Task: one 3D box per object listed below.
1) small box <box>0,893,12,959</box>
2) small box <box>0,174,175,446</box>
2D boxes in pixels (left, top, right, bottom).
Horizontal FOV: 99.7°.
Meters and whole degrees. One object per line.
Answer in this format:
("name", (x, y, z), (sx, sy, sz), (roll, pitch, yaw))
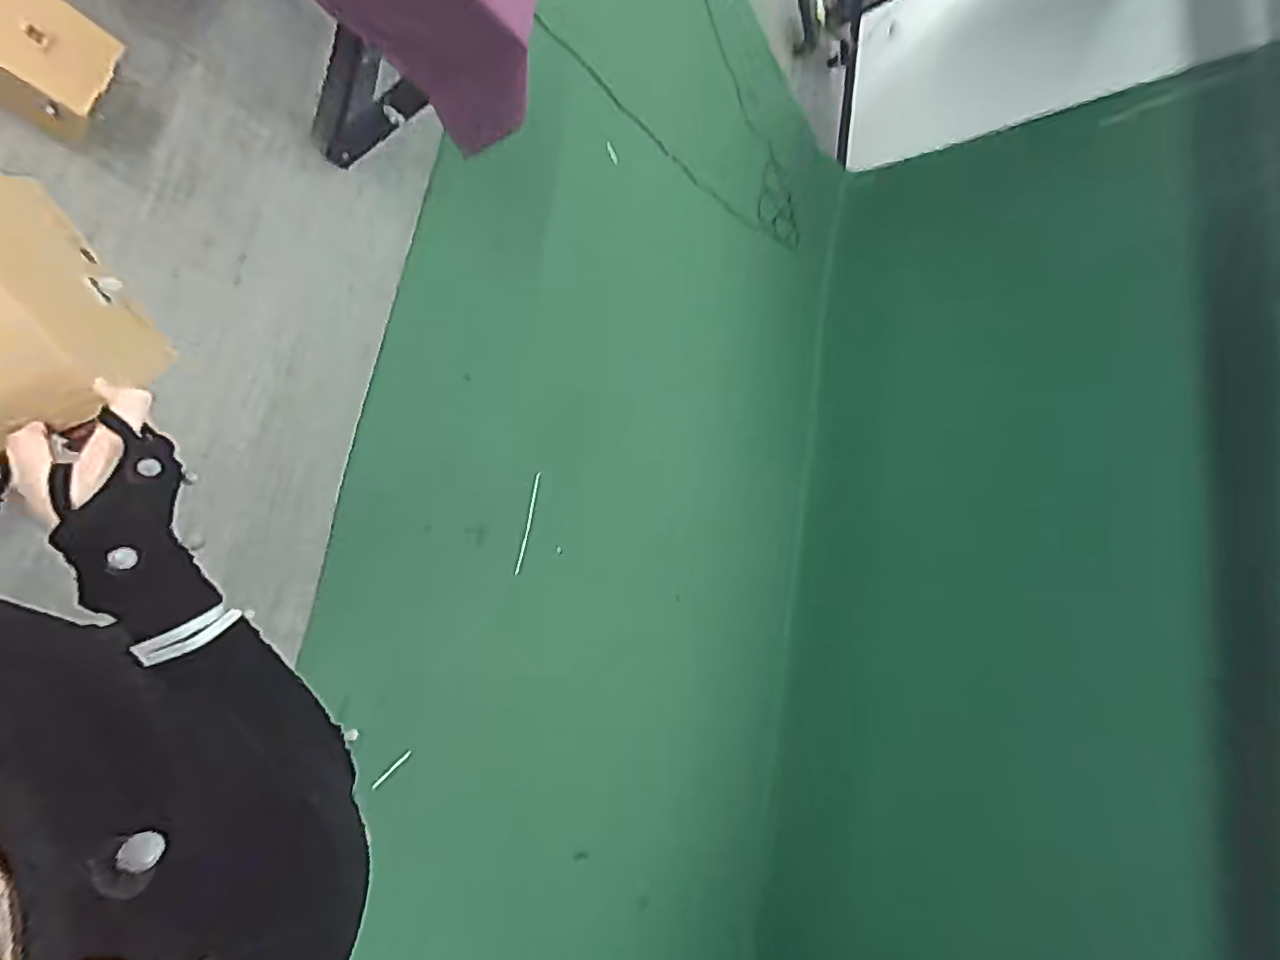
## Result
("small box", (-1.161, 0.800, 0.864), (0.168, 0.176, 0.179), (20, 76, -49))
("small box", (-0.518, -0.119, 0.411), (0.179, 0.176, 0.168), (-27, 123, -12))
